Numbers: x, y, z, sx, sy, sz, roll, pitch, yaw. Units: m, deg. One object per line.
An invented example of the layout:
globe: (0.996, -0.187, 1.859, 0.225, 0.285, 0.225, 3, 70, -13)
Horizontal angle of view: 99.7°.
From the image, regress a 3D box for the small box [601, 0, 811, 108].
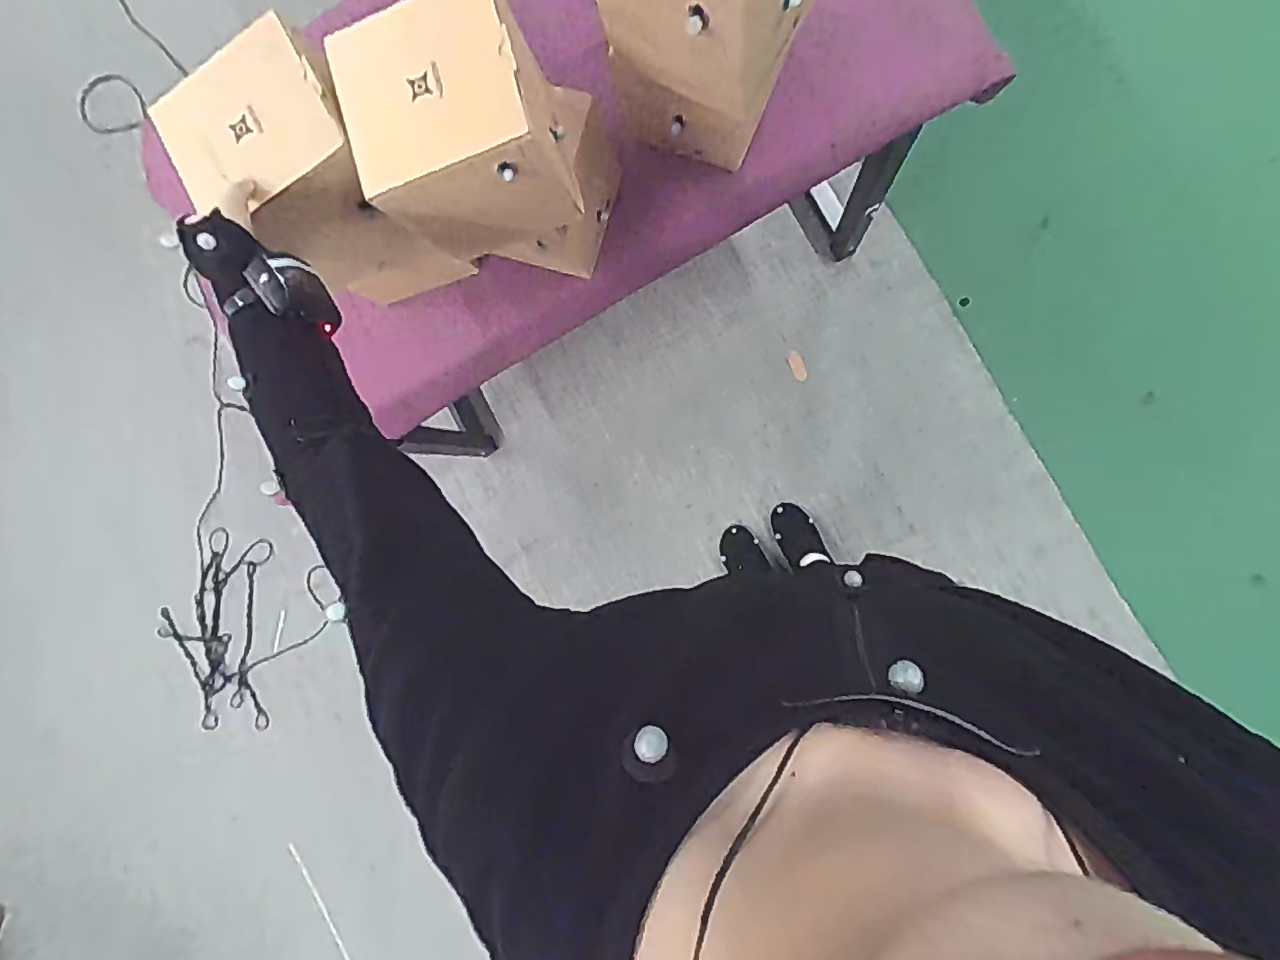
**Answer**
small box: (0.071, -0.513, 0.527, 0.179, 0.176, 0.168, 31, 96, 10)

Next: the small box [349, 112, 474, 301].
small box: (-0.364, -0.376, 0.778, 0.179, 0.176, 0.168, -11, 88, 4)

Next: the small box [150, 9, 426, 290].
small box: (-0.373, -0.350, 0.612, 0.179, 0.176, 0.168, -31, 86, 9)

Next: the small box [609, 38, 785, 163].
small box: (0.084, -0.549, 0.692, 0.168, 0.176, 0.179, 24, 95, 9)
